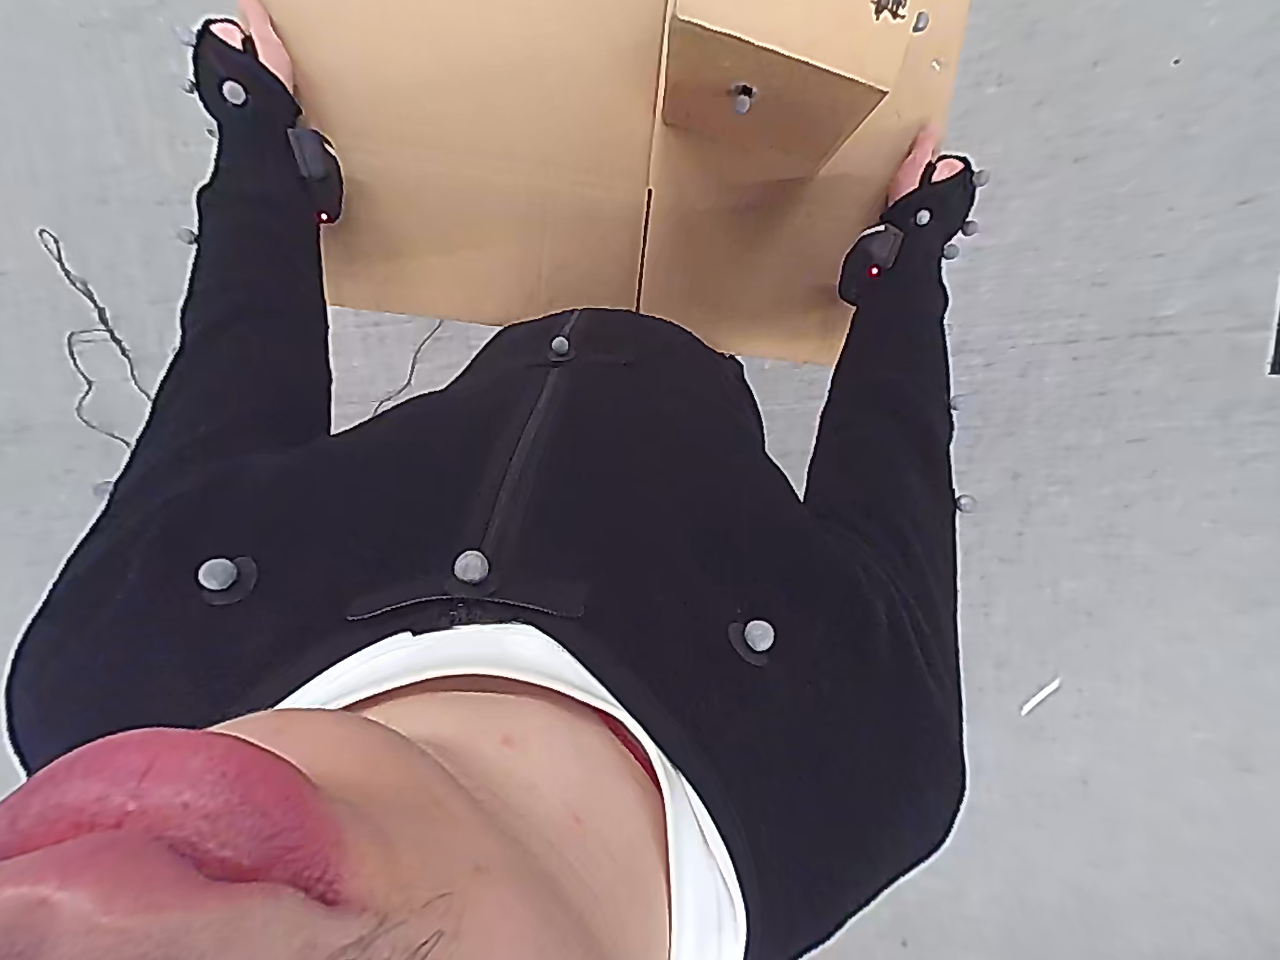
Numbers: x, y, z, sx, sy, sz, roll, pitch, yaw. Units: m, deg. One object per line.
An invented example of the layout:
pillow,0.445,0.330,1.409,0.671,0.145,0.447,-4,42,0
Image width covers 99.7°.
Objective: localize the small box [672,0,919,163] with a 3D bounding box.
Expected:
small box,0.132,-0.411,0.474,0.179,0.176,0.168,17,101,-2
